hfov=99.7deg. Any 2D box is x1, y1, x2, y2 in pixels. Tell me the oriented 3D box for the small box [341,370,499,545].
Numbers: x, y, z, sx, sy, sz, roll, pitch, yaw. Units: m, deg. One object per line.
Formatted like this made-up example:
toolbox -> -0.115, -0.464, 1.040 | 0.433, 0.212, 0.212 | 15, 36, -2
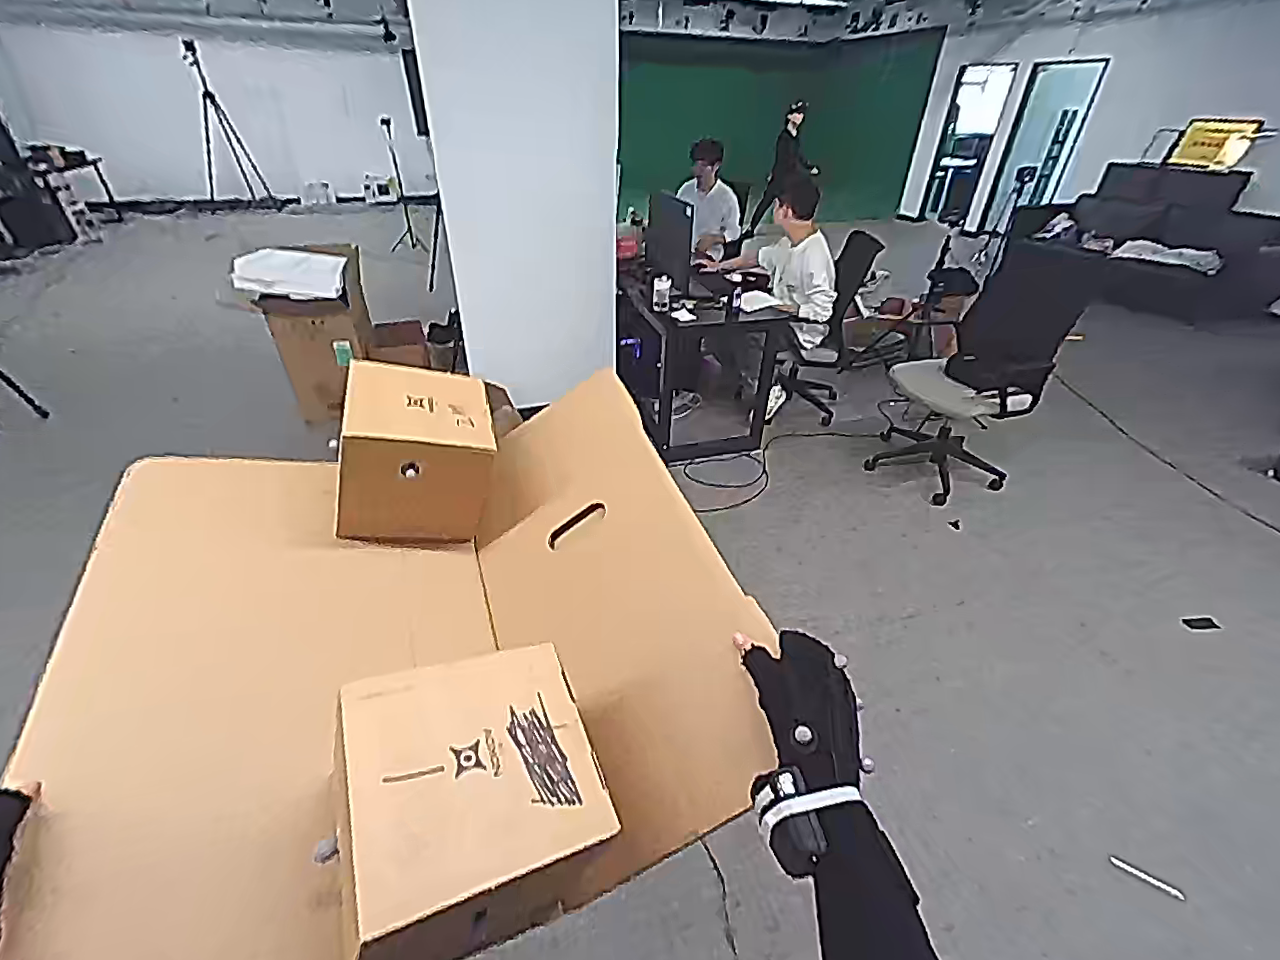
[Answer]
small box -> -0.305, -0.025, 0.744 | 0.179, 0.176, 0.168 | 6, 39, -27
